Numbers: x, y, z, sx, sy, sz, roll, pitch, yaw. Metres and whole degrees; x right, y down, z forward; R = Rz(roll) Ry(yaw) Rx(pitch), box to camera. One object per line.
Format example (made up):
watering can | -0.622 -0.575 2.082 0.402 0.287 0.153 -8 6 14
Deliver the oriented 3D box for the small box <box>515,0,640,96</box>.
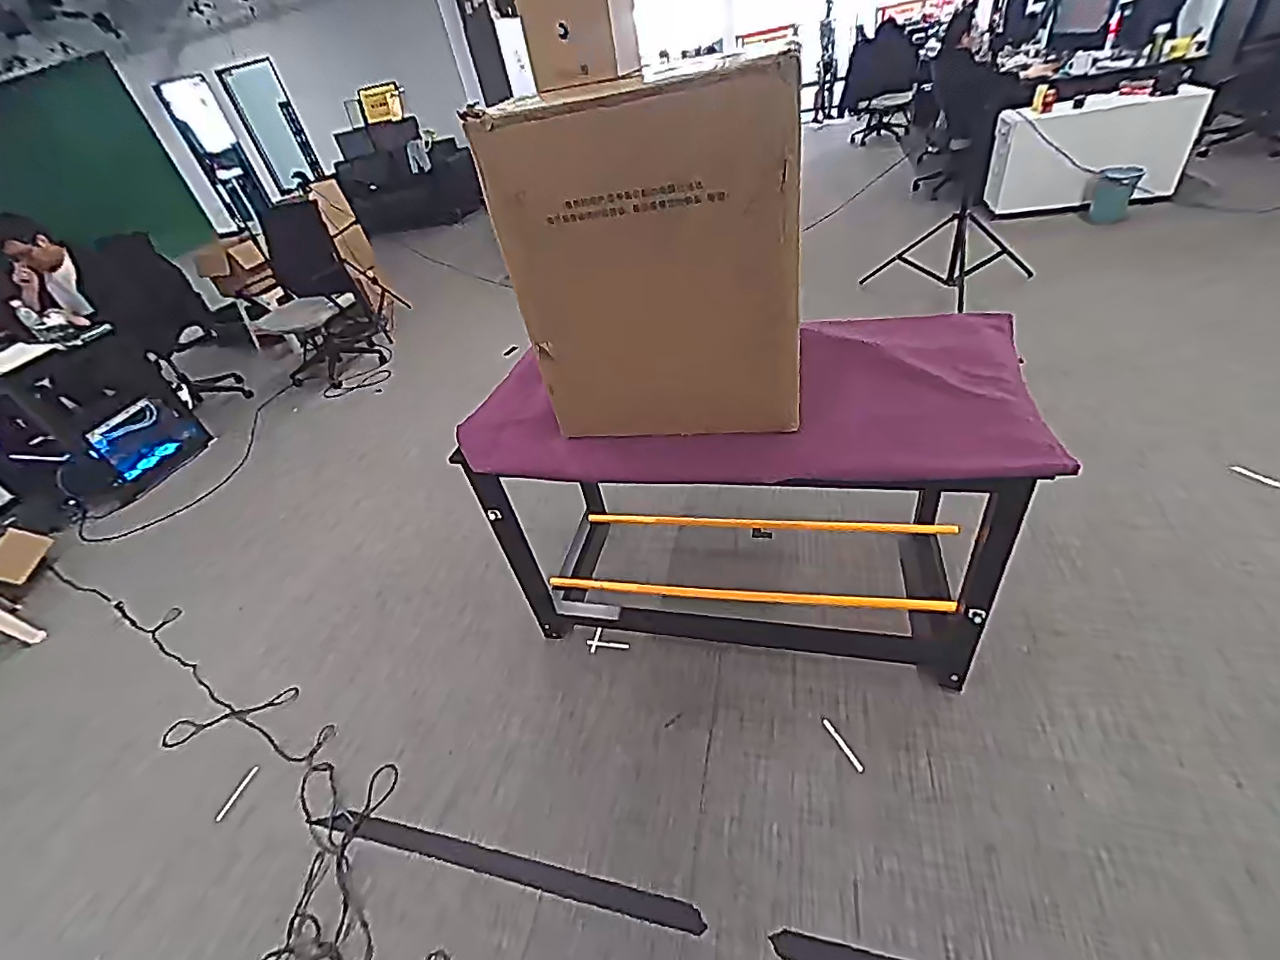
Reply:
small box | -0.105 -0.828 1.000 0.168 0.176 0.179 3 41 17
